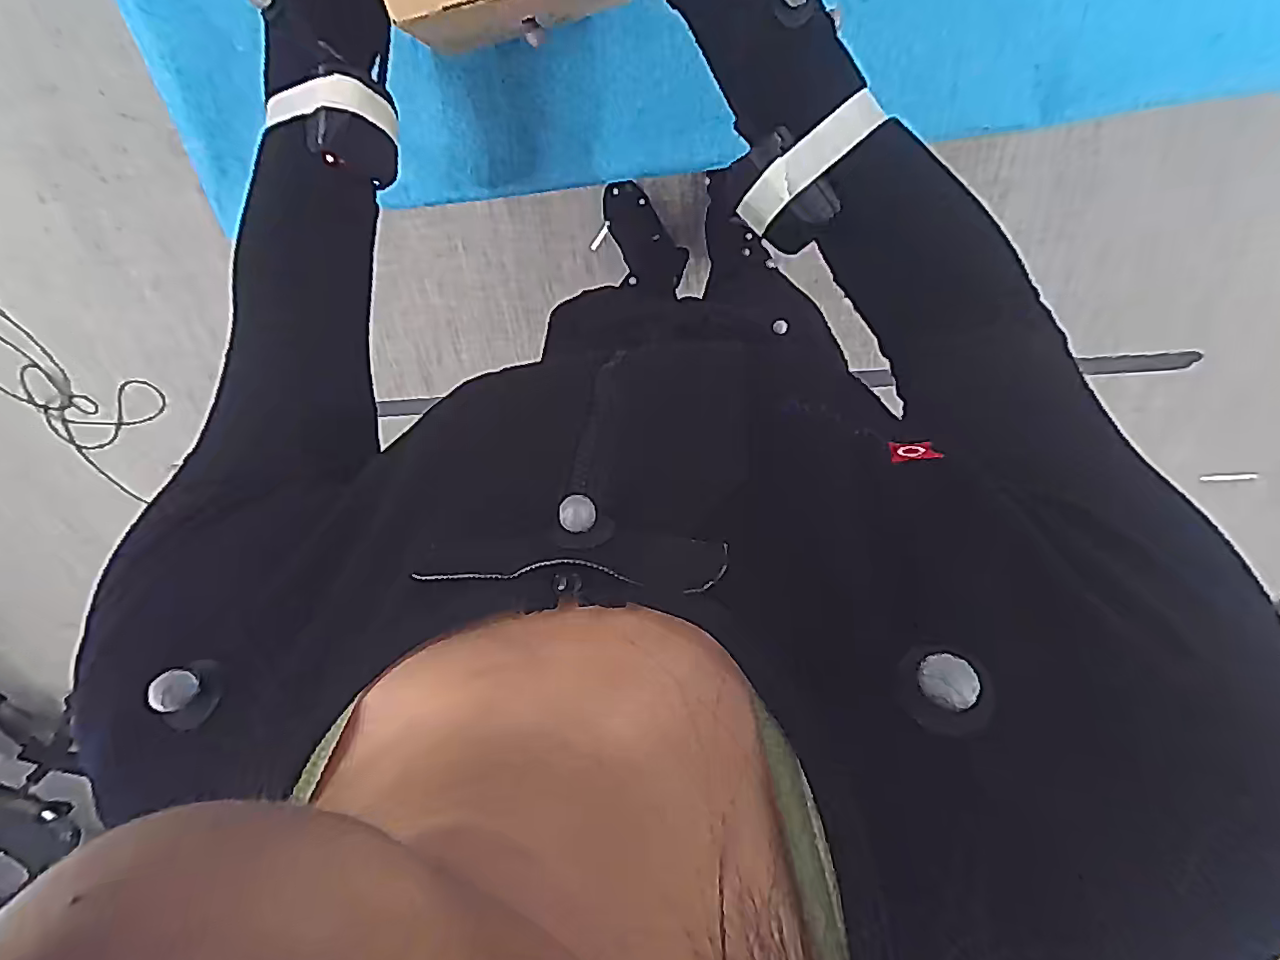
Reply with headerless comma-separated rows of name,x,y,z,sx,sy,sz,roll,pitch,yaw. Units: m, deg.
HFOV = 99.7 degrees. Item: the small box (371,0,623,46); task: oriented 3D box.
small box,-0.101,-0.409,0.348,0.168,0.176,0.179,-10,126,2
